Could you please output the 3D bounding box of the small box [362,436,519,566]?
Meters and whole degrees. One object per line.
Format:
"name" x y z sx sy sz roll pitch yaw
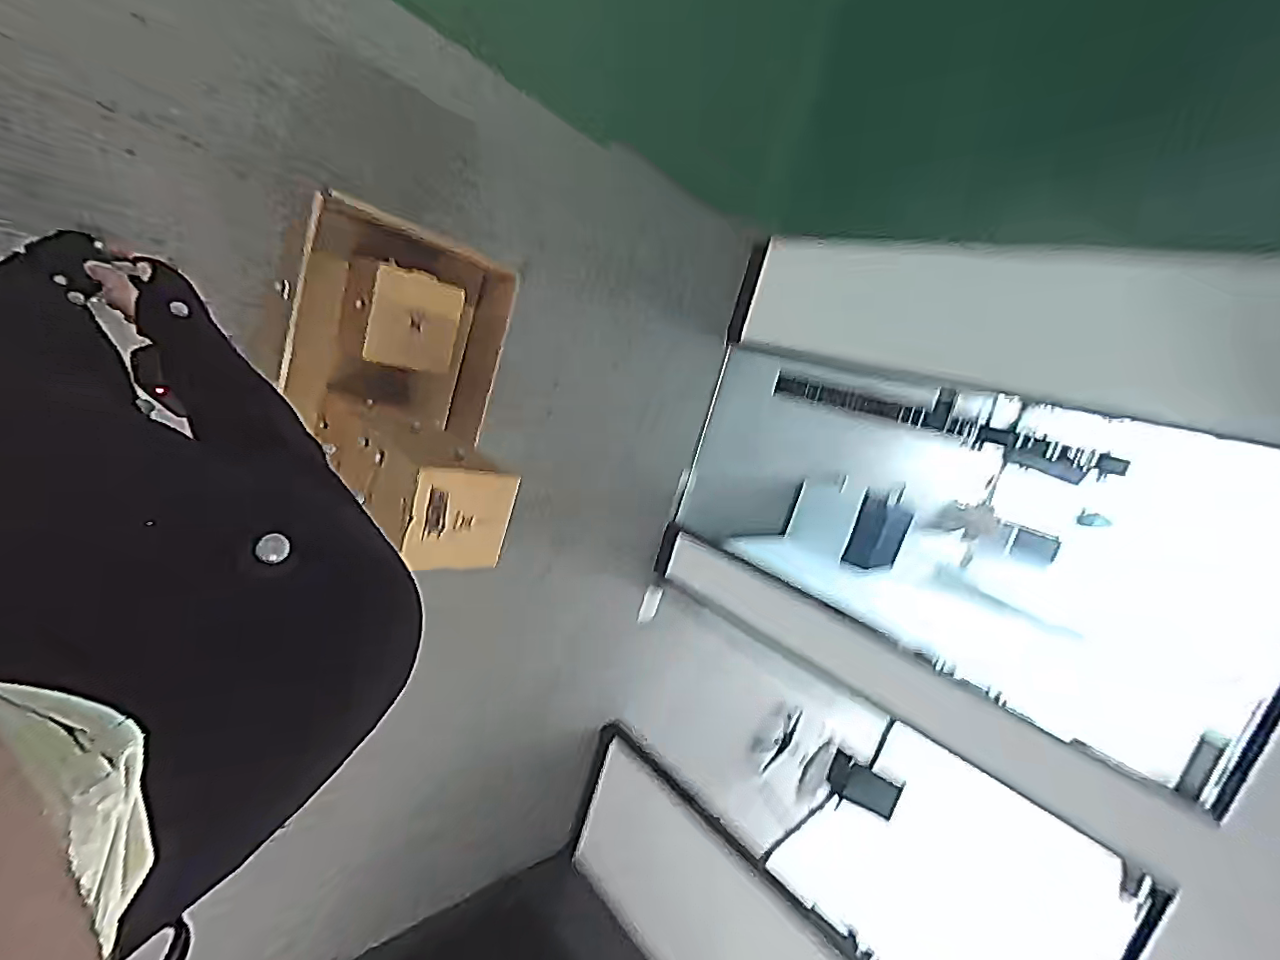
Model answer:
"small box" -0.338 0.034 0.904 0.179 0.176 0.168 8 105 -48

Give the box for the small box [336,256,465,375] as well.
"small box" -0.479 -0.327 1.072 0.168 0.176 0.179 7 107 -47
